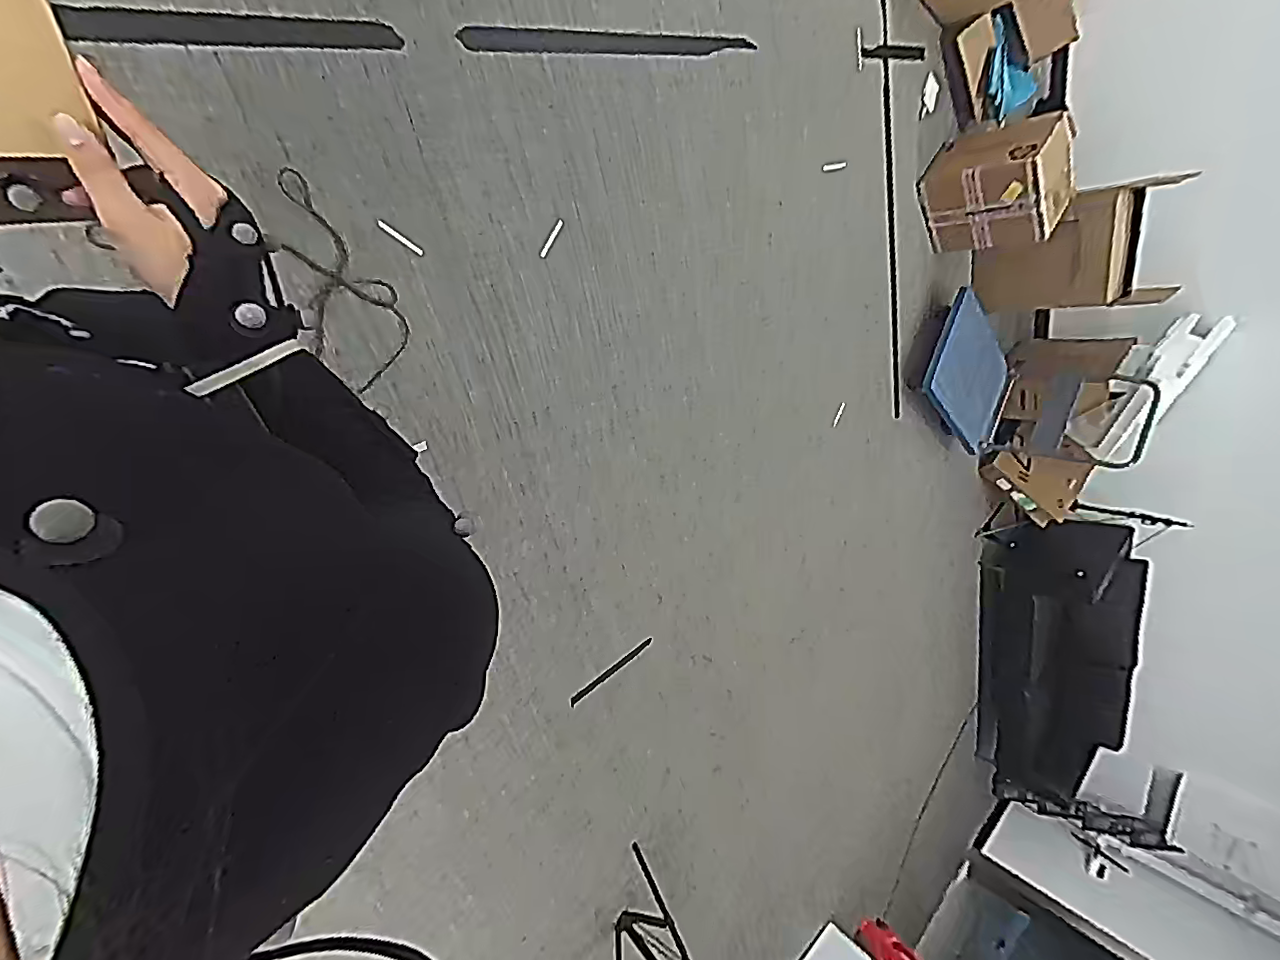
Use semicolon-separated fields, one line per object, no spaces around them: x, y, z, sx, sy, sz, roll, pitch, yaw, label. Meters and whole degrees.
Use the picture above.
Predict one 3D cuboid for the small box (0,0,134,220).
-0.416;-0.245;0.288;0.179;0.176;0.168;-23;114;-36;small box
